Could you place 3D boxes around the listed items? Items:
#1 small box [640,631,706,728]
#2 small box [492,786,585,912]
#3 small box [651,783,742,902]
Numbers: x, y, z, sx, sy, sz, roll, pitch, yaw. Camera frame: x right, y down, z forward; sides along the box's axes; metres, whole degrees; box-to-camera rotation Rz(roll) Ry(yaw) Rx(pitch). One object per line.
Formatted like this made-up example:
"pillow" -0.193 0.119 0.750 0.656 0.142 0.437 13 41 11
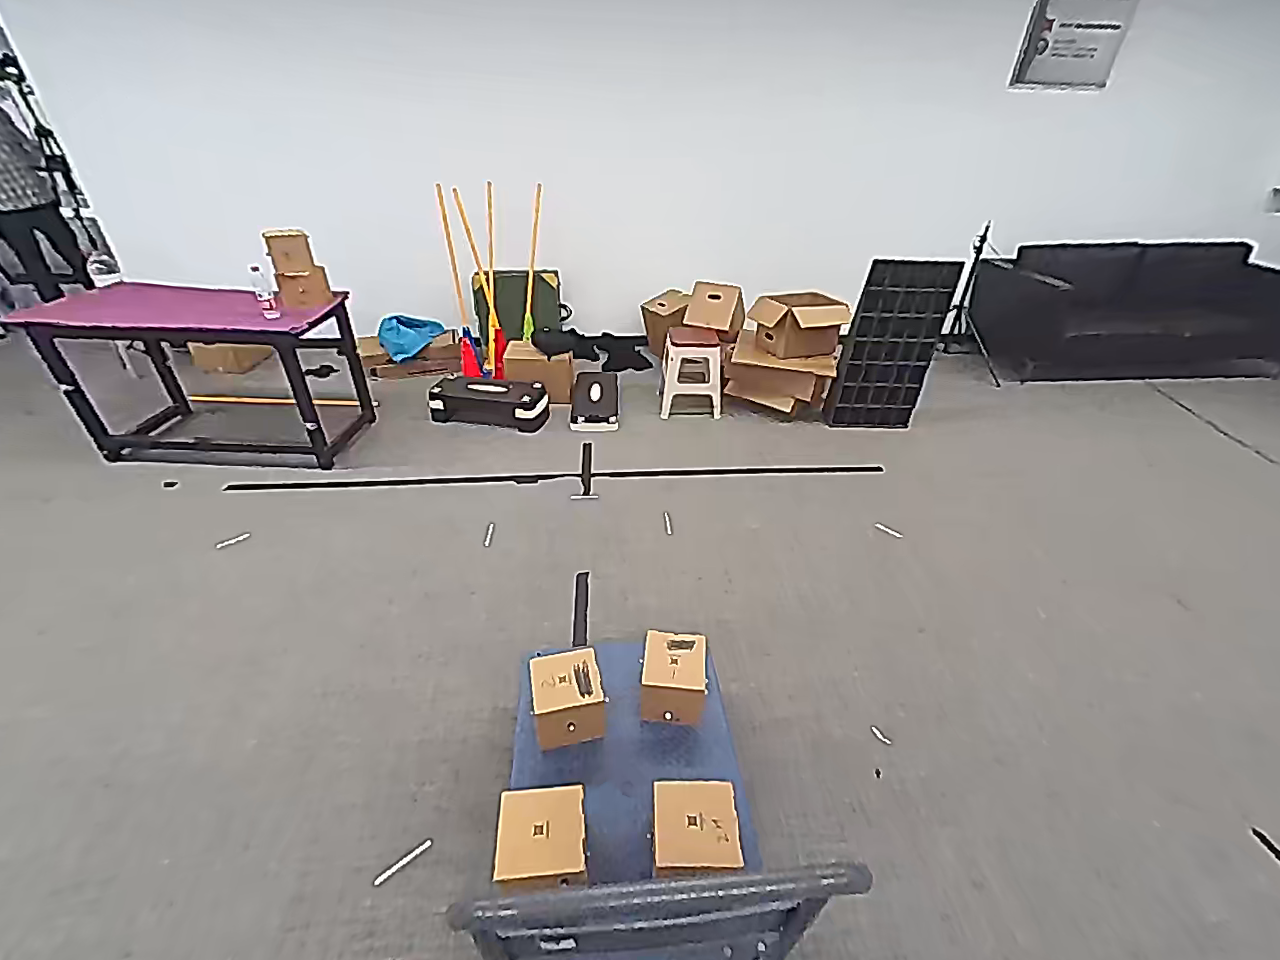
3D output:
"small box" 0.091 0.547 1.488 0.168 0.176 0.179 5 35 4
"small box" -0.206 0.777 1.139 0.179 0.176 0.168 -1 34 -7
"small box" 0.112 0.775 1.157 0.179 0.176 0.168 2 35 -1
